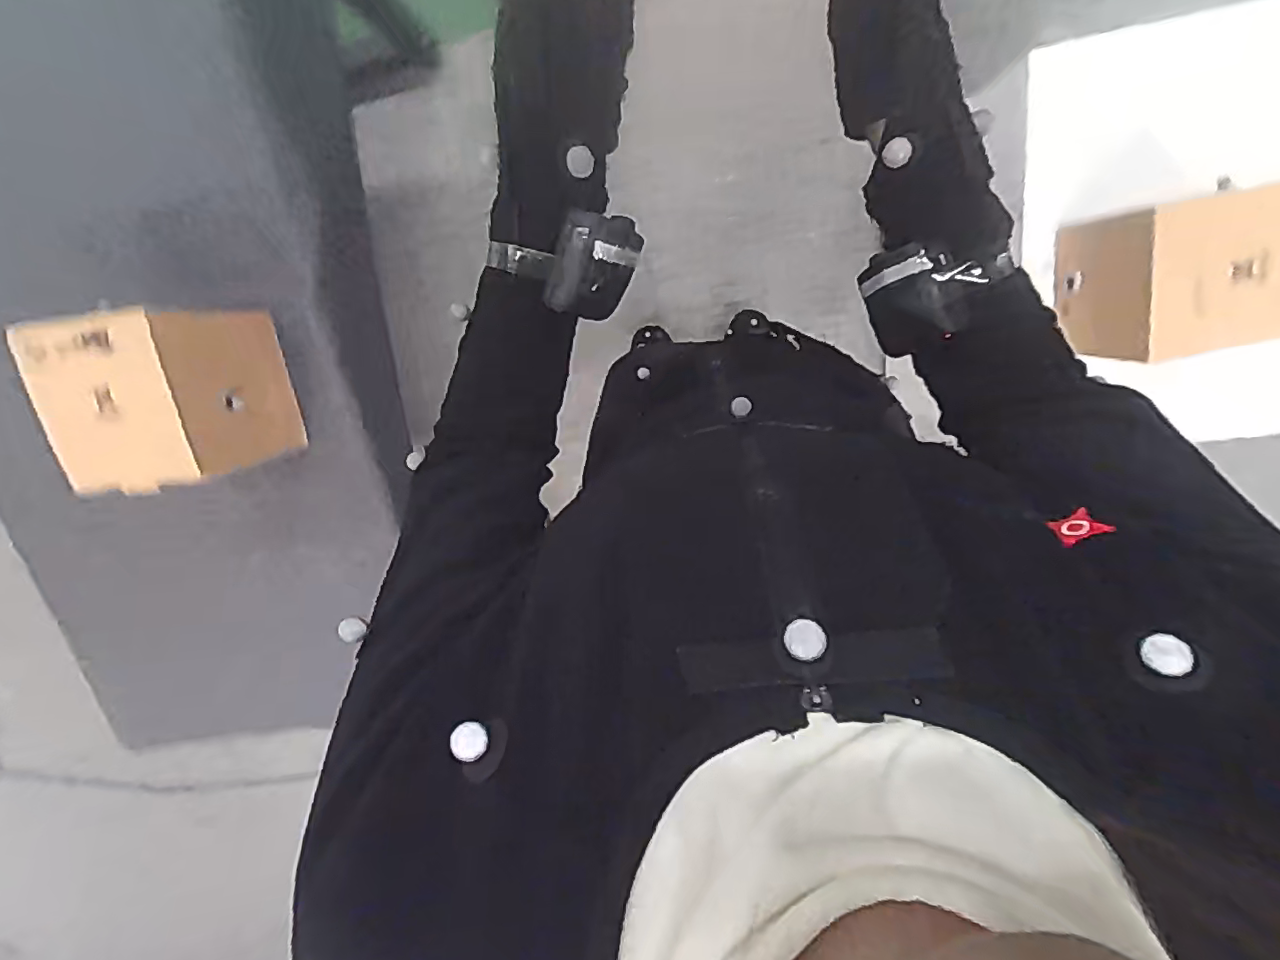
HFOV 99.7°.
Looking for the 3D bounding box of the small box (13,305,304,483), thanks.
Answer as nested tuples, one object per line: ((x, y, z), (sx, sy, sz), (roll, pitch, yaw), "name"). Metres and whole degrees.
((-0.543, -0.108, 0.641), (0.168, 0.176, 0.179), (-4, 107, 8), "small box")

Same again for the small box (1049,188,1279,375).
((0.614, -0.224, 0.618), (0.179, 0.176, 0.168), (-9, 105, 10), "small box")
